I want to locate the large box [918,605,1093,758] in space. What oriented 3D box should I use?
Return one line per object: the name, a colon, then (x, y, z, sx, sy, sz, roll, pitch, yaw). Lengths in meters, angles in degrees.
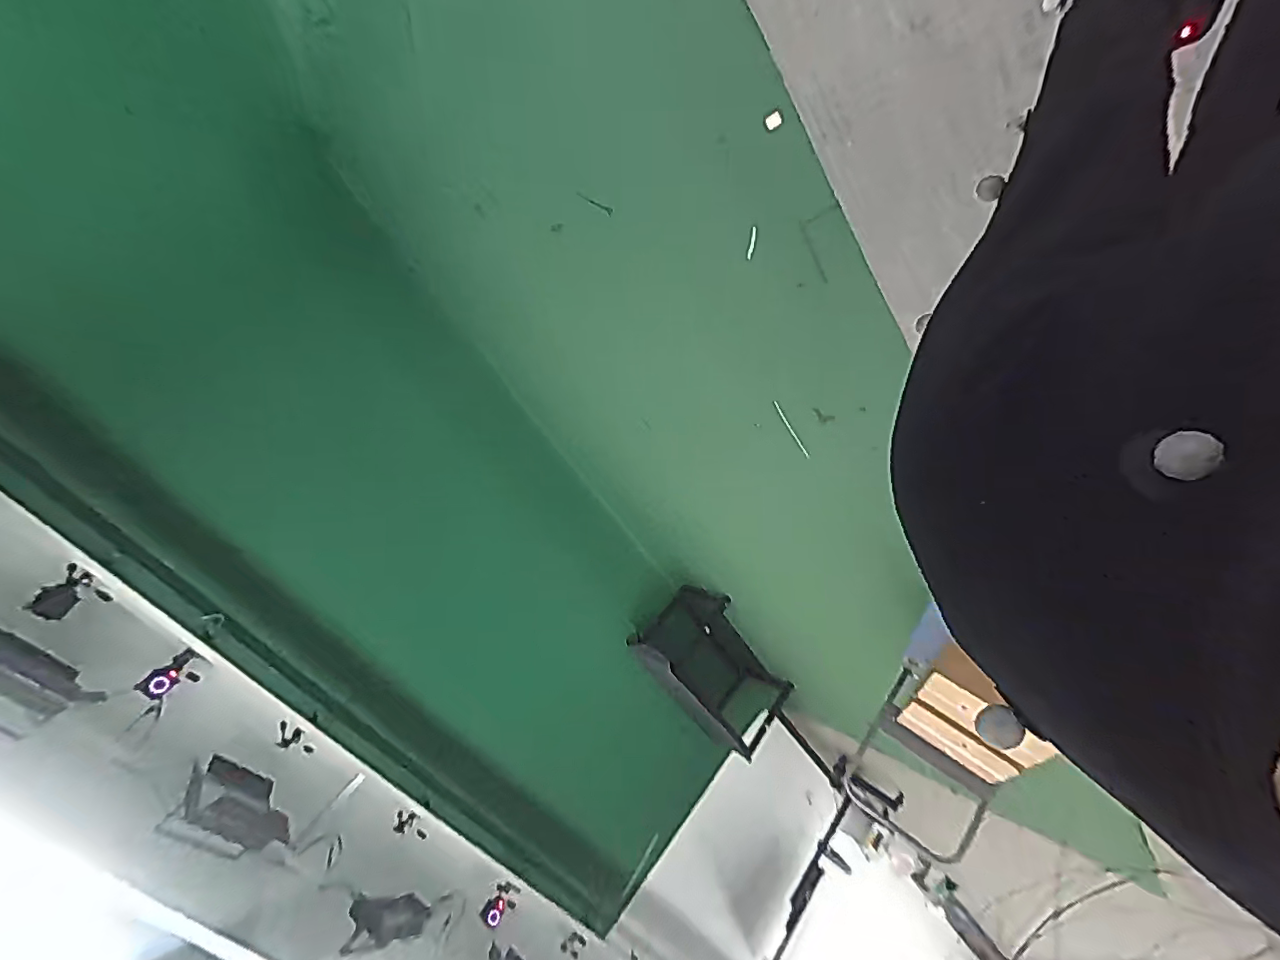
large box: (1.324, 0.735, 1.988, 0.408, 0.320, 0.320, 31, 157, 30)
